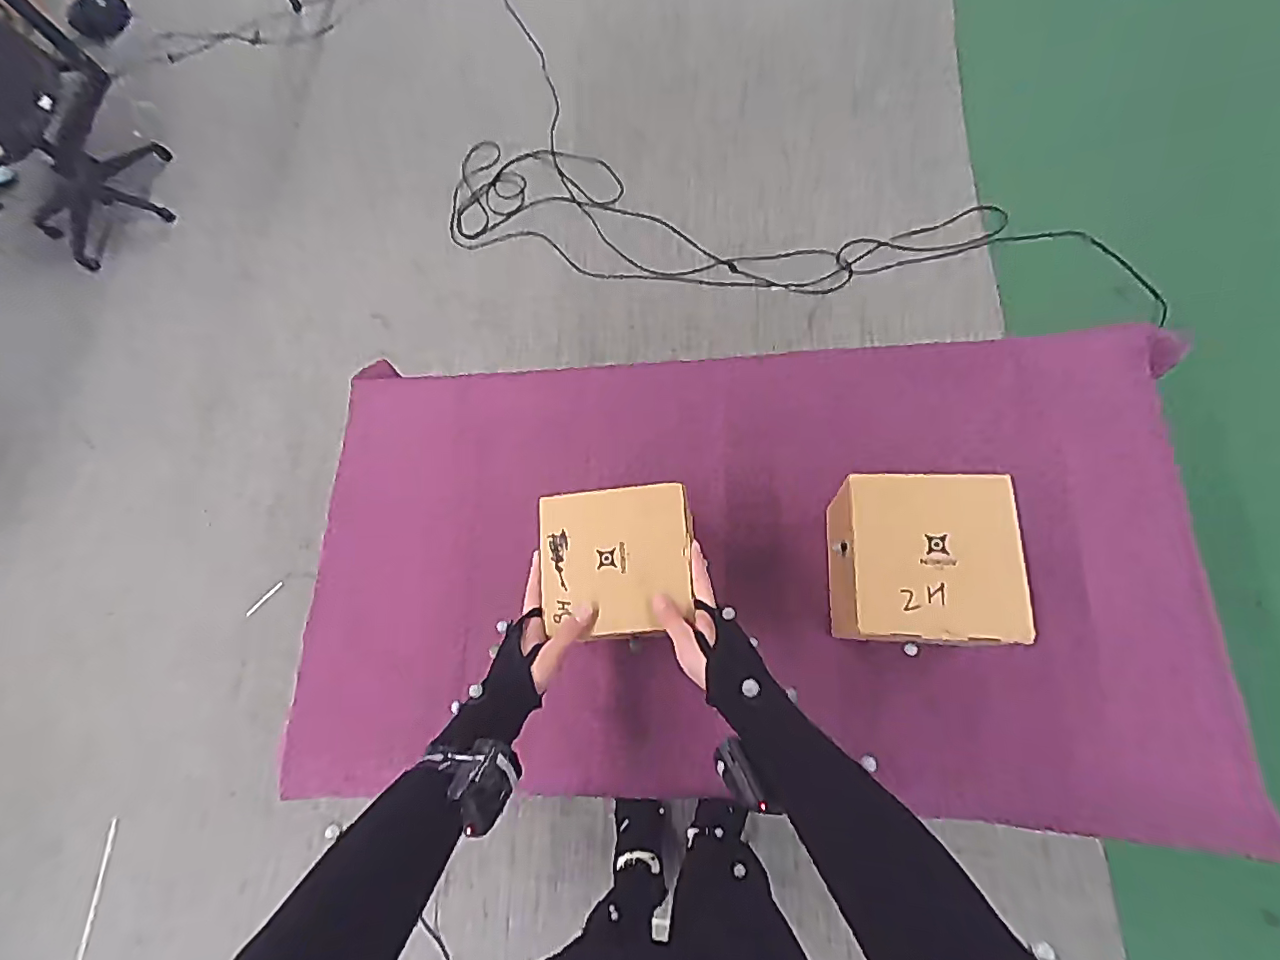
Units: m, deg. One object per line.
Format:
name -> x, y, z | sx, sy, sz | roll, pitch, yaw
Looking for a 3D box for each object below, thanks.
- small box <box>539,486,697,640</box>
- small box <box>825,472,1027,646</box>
small box -> -0.021, 0.114, 0.687 | 0.179, 0.176, 0.168 | -6, 72, 6
small box -> 0.318, 0.100, 0.644 | 0.168, 0.176, 0.179 | 0, 73, 11
